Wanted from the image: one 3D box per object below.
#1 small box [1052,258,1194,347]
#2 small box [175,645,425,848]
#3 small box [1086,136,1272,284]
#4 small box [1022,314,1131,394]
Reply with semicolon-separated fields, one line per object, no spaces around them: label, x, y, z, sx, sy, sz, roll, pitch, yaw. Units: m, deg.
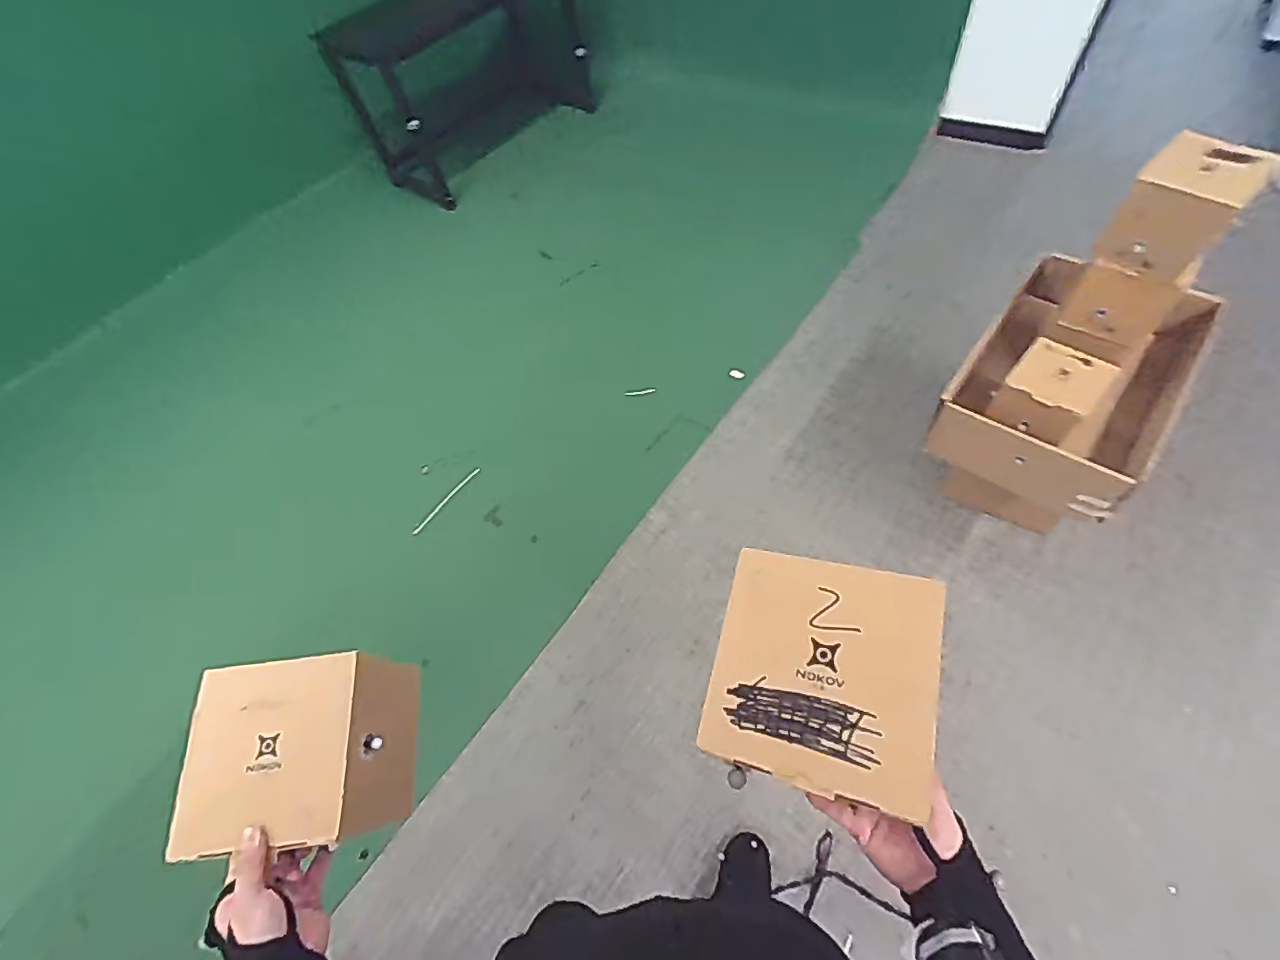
small box;1.050;-0.428;1.181;0.168;0.176;0.179;31;69;25
small box;-0.362;0.294;0.616;0.168;0.176;0.179;-6;65;0
small box;1.023;-0.519;1.046;0.179;0.176;0.168;-41;60;-14
small box;1.077;-0.346;1.318;0.168;0.176;0.179;31;69;26
